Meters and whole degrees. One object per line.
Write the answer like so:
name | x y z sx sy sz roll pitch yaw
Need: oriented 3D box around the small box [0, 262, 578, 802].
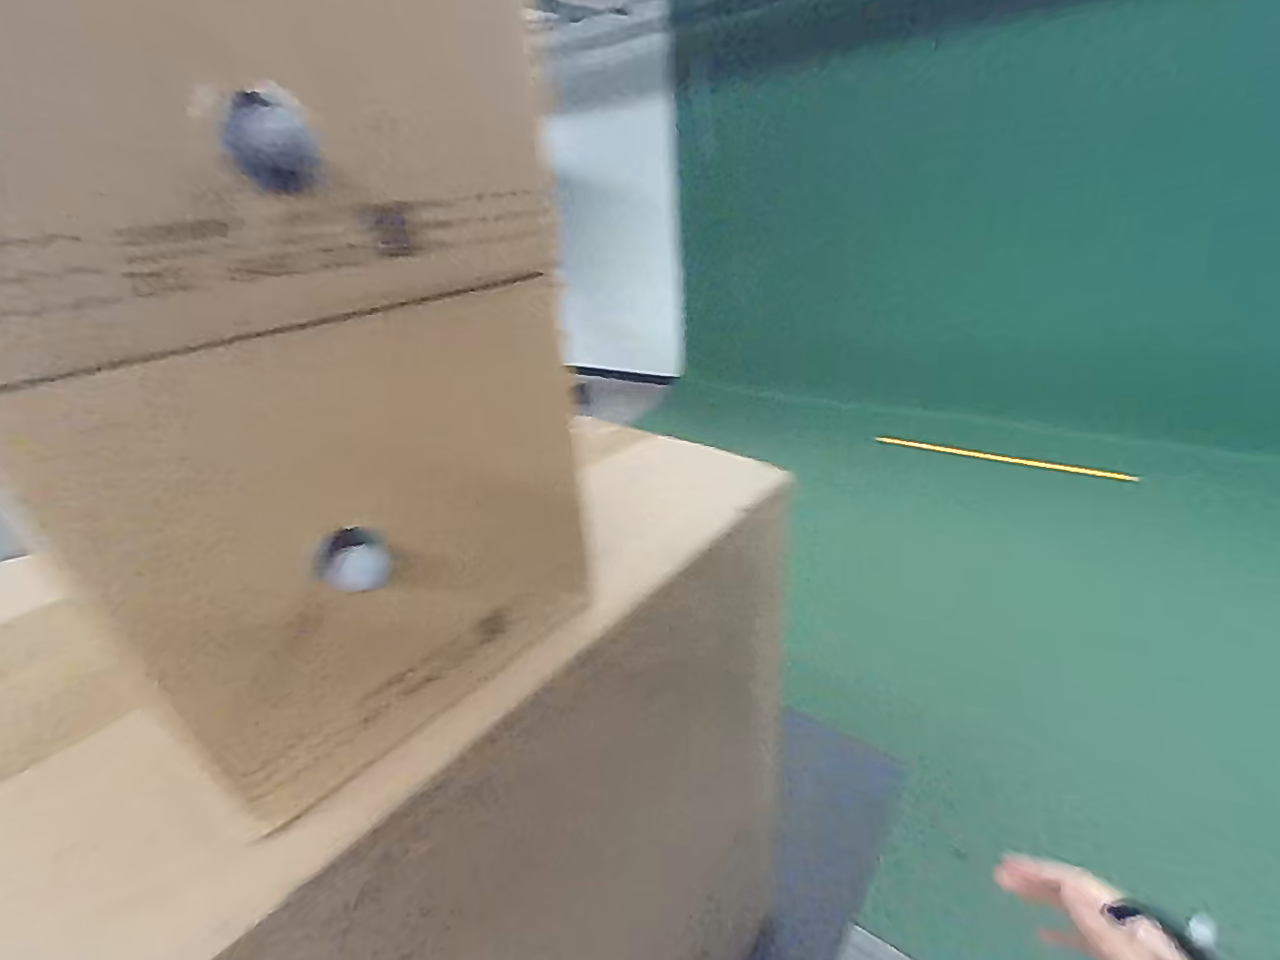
small box | -0.148 0.006 0.252 0.179 0.176 0.168 22 39 37
